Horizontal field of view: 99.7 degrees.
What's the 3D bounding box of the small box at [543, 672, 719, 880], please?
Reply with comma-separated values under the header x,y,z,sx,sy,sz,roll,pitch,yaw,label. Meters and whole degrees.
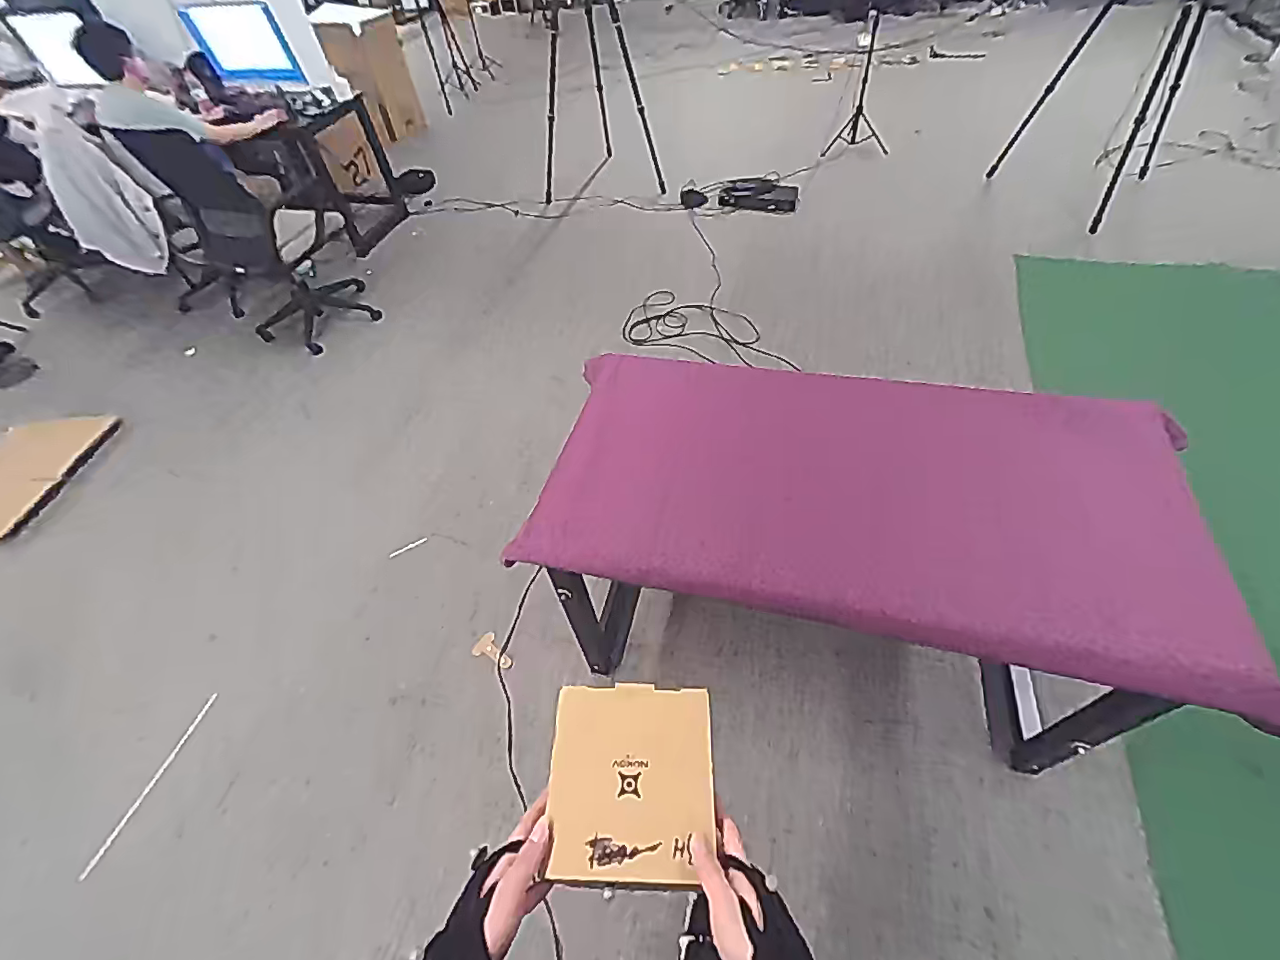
x,y,z,sx,sy,sz,roll,pitch,yaw,label
-0.004,0.334,0.610,0.168,0.176,0.179,1,52,3,small box
